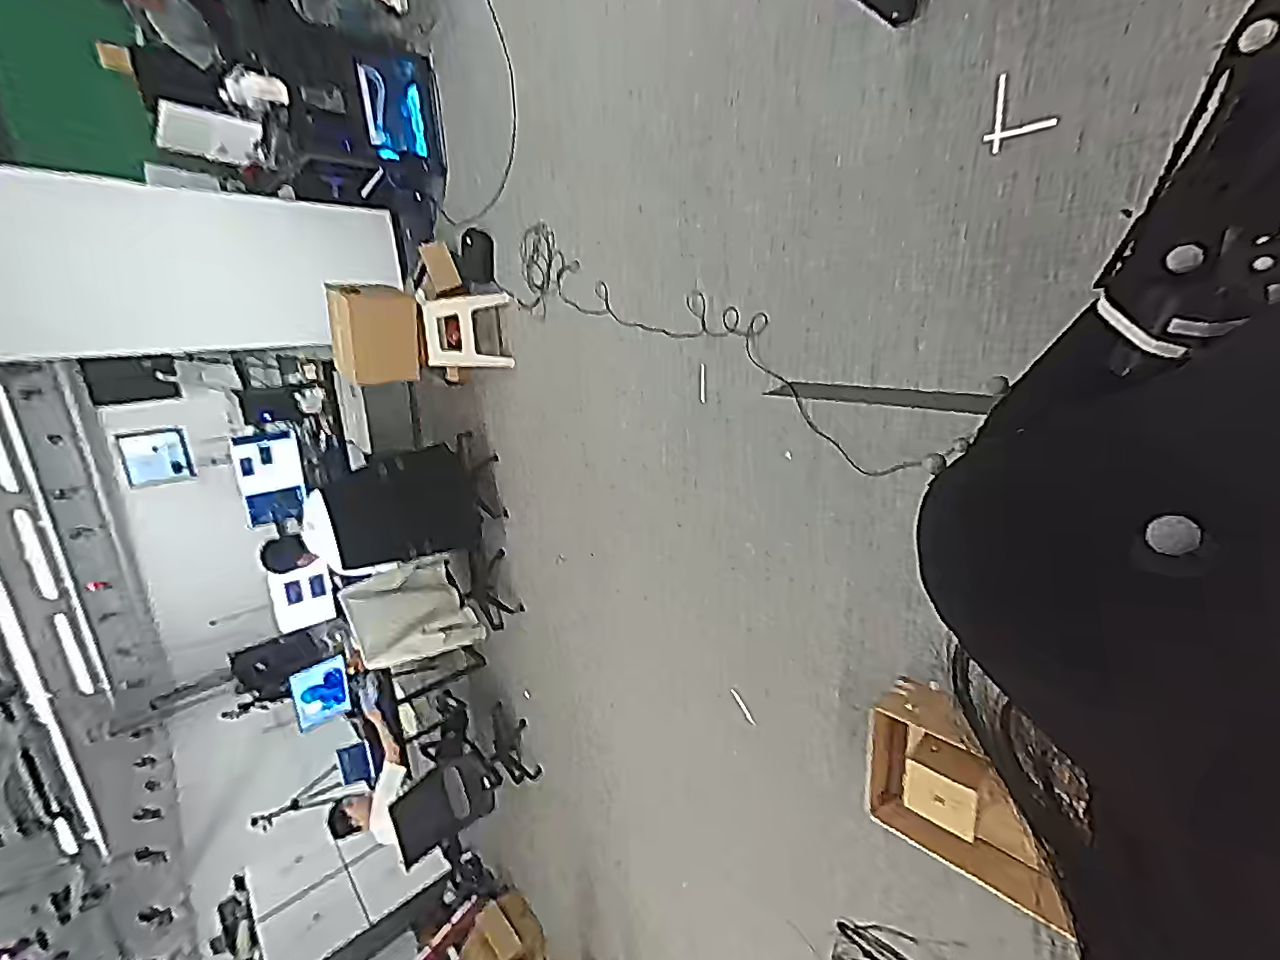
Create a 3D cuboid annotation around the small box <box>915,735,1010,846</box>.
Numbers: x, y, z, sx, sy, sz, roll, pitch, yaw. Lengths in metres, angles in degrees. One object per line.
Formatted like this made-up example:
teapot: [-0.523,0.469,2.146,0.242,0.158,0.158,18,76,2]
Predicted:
small box: [0.879,0.831,1.474,0.179,0.176,0.168,11,111,46]
